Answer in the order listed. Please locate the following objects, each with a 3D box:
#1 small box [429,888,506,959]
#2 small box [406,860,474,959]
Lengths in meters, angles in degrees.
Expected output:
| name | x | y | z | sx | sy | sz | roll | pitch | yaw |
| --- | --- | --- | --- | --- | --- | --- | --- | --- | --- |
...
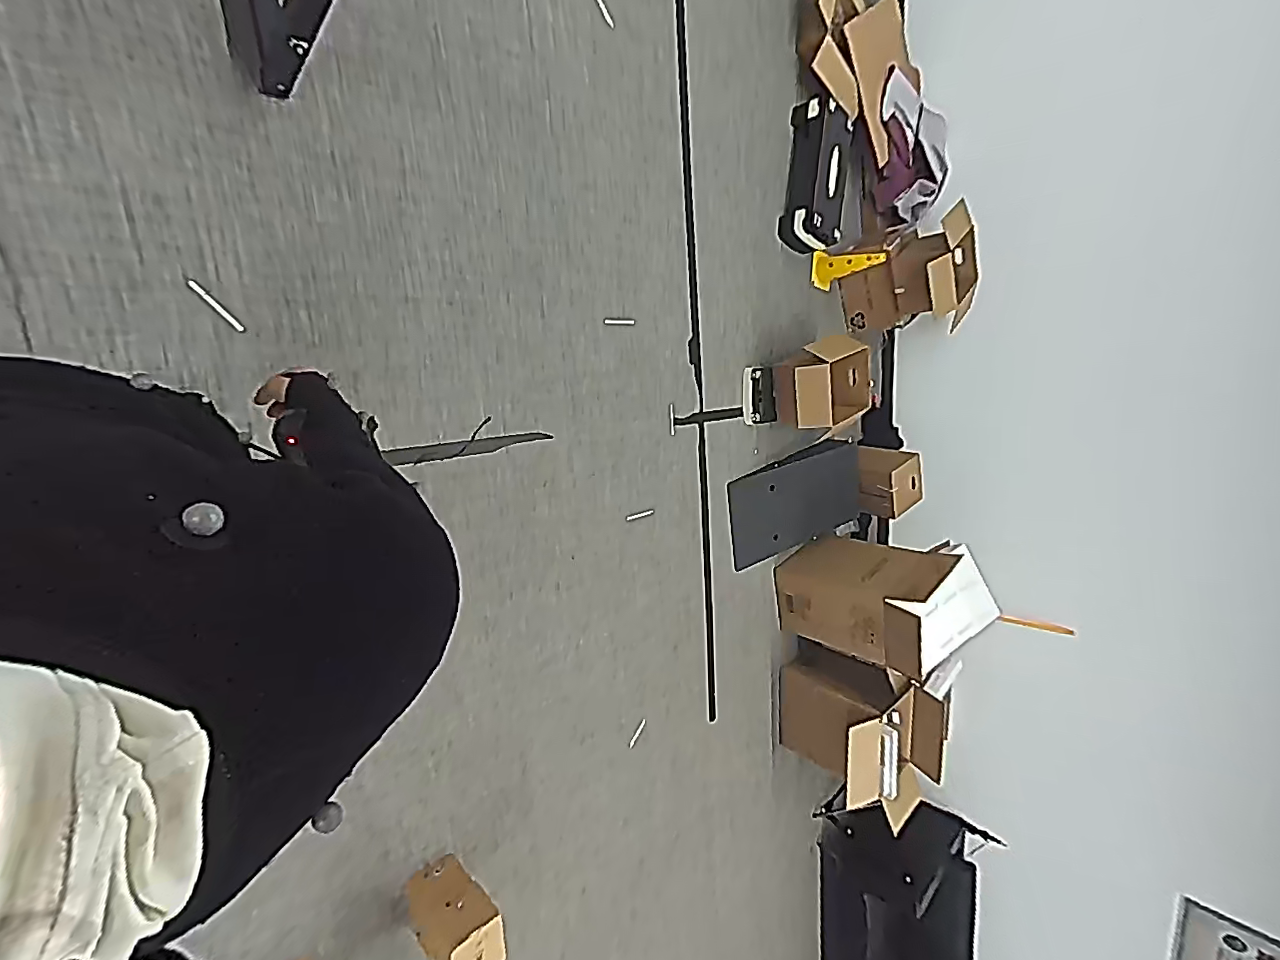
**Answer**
| name | x | y | z | sx | sy | sz | roll | pitch | yaw |
| --- | --- | --- | --- | --- | --- | --- | --- | --- | --- |
| small box | -0.526 | 1.414 | 1.650 | 0.168 | 0.176 | 0.179 | -12 | 103 | -43 |
| small box | -0.645 | 1.404 | 1.764 | 0.168 | 0.176 | 0.179 | -12 | 104 | -43 |
